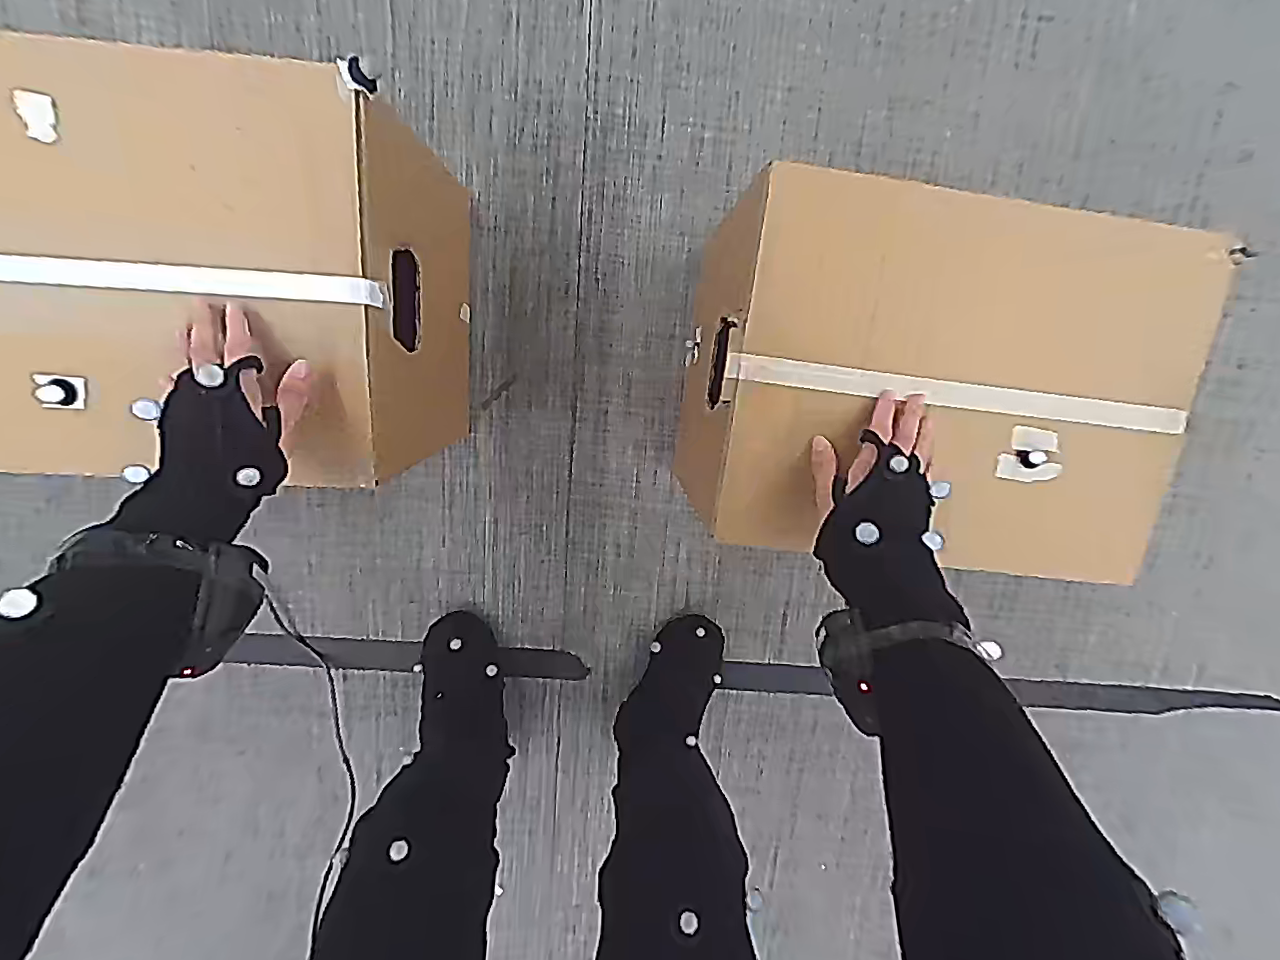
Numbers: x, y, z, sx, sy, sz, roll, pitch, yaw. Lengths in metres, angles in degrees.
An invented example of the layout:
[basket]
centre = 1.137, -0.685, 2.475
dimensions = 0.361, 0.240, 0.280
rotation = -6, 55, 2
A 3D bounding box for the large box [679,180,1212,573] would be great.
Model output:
[large box]
centre = 0.275, -0.104, 0.626
dimensions = 0.408, 0.320, 0.320
rotation = 6, 102, -5
